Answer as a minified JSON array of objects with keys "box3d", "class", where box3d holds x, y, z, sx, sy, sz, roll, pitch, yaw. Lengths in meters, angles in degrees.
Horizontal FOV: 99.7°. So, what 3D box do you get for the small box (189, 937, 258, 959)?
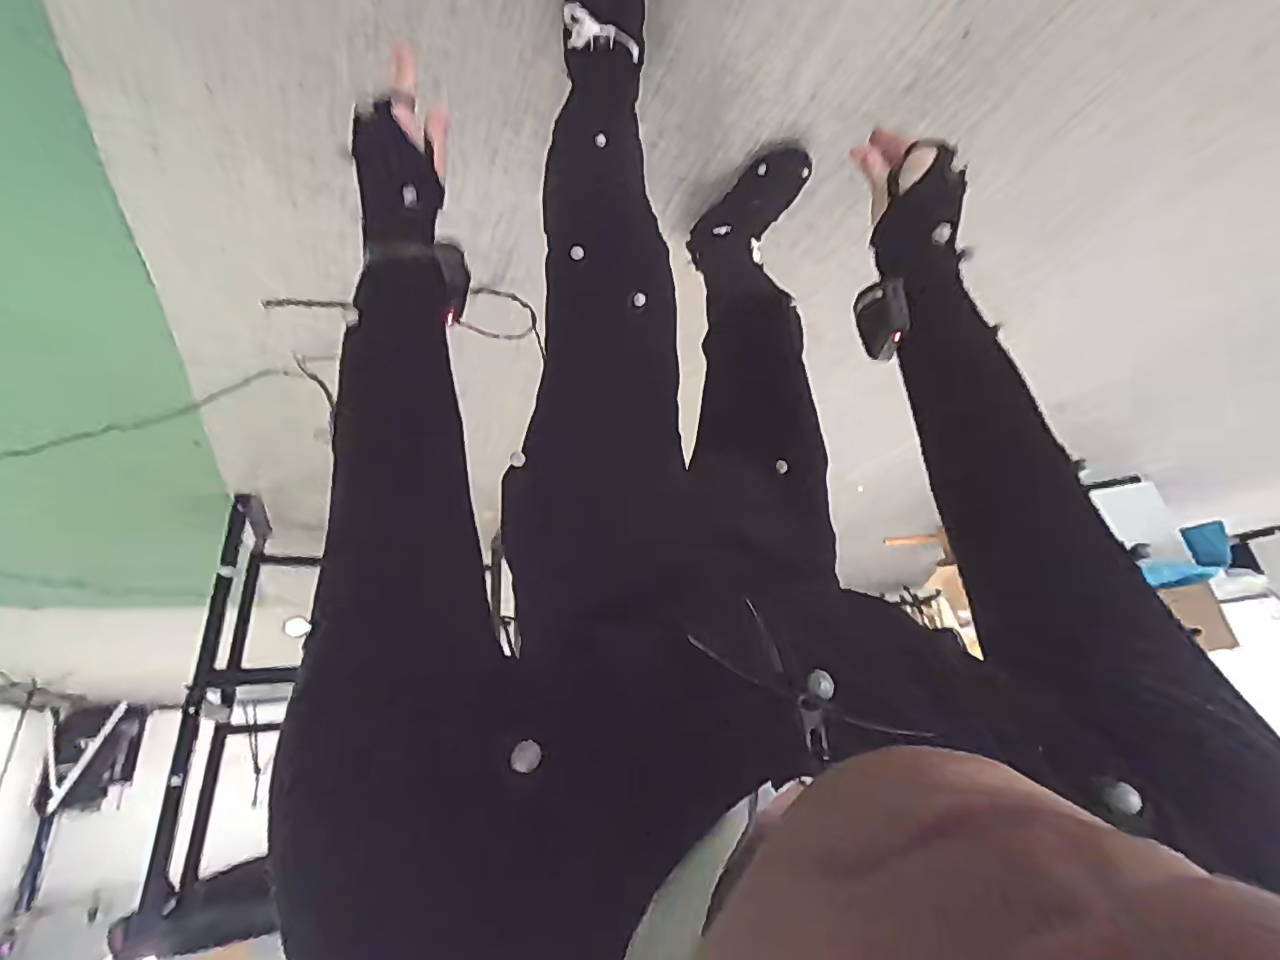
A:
[{"box3d":[-1.289,1.537,1.659,0.179,0.176,0.168,9,150,-29],"class":"small box"}]
